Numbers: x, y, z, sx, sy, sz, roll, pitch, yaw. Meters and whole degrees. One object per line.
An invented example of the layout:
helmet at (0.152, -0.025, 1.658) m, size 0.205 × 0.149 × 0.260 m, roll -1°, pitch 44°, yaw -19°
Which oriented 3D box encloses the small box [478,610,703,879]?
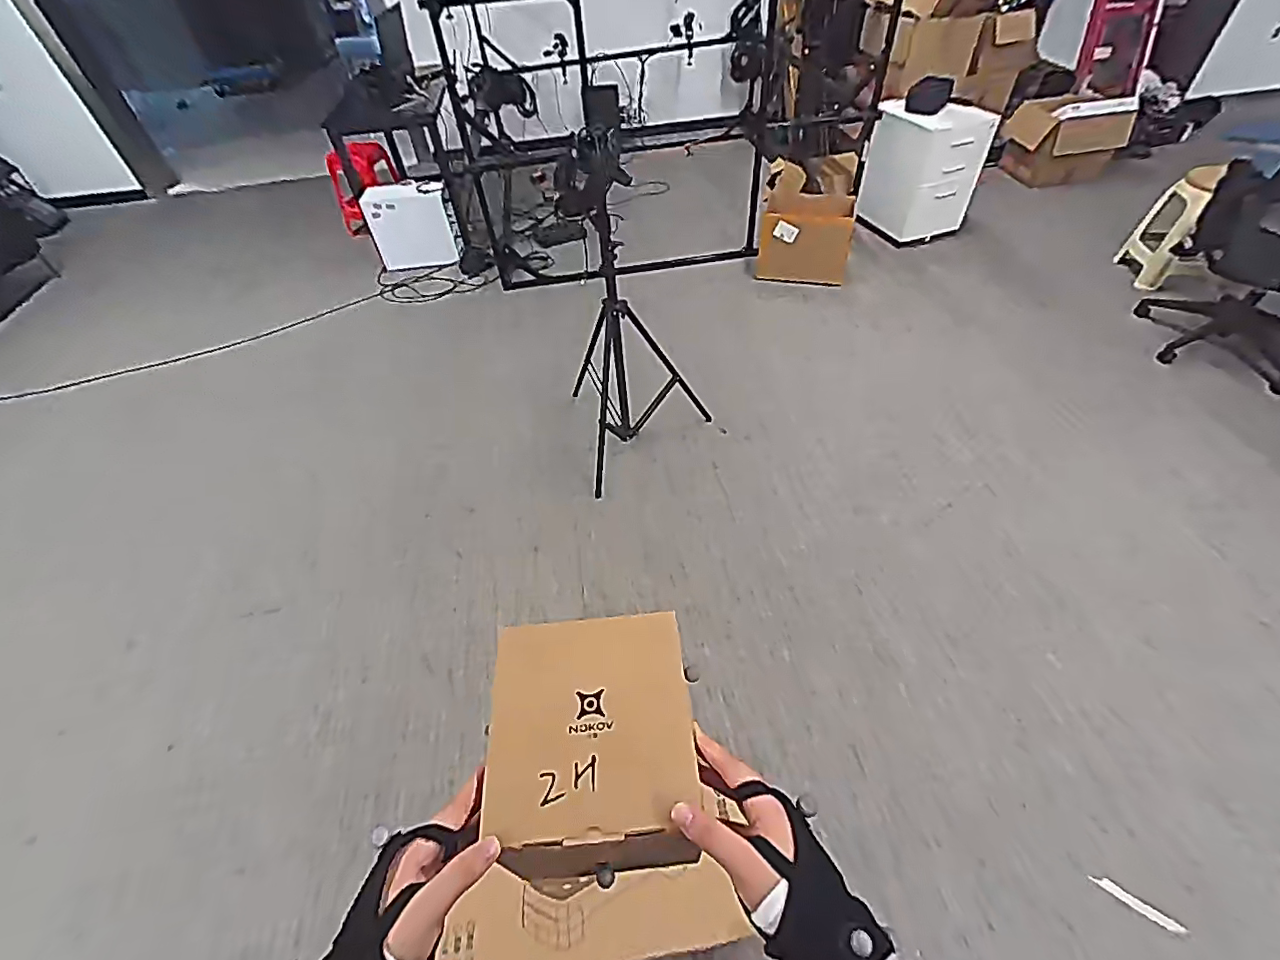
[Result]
small box at (-0.038, 0.246, 0.503) m, size 0.168 × 0.176 × 0.179 m, roll -6°, pitch 47°, yaw -1°
